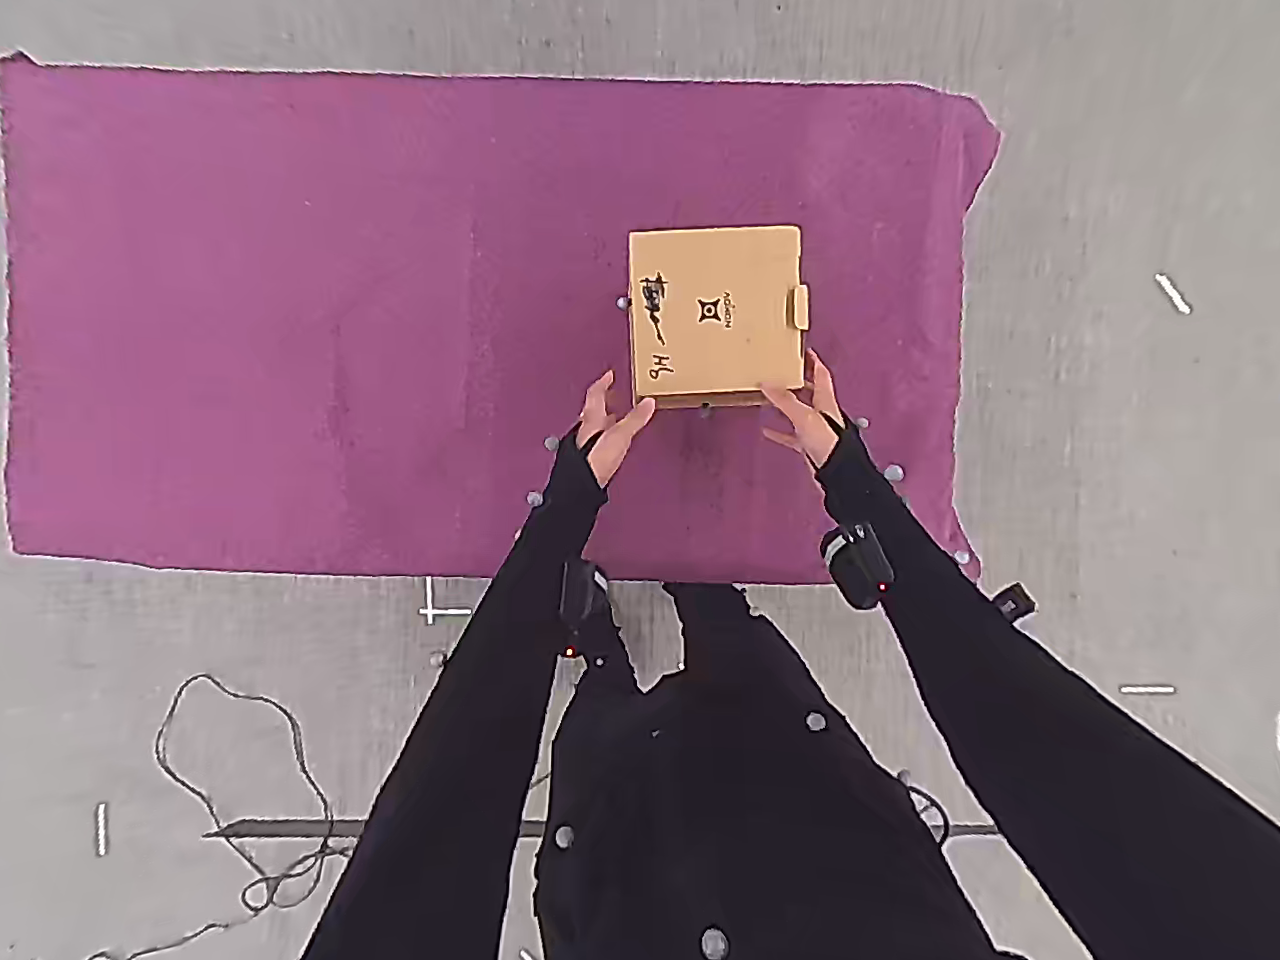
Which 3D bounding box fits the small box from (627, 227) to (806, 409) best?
[{"bbox_3d":[0.076,-0.173,0.622,0.179,0.176,0.168,-2,92,-2],"label":"small box"}]
